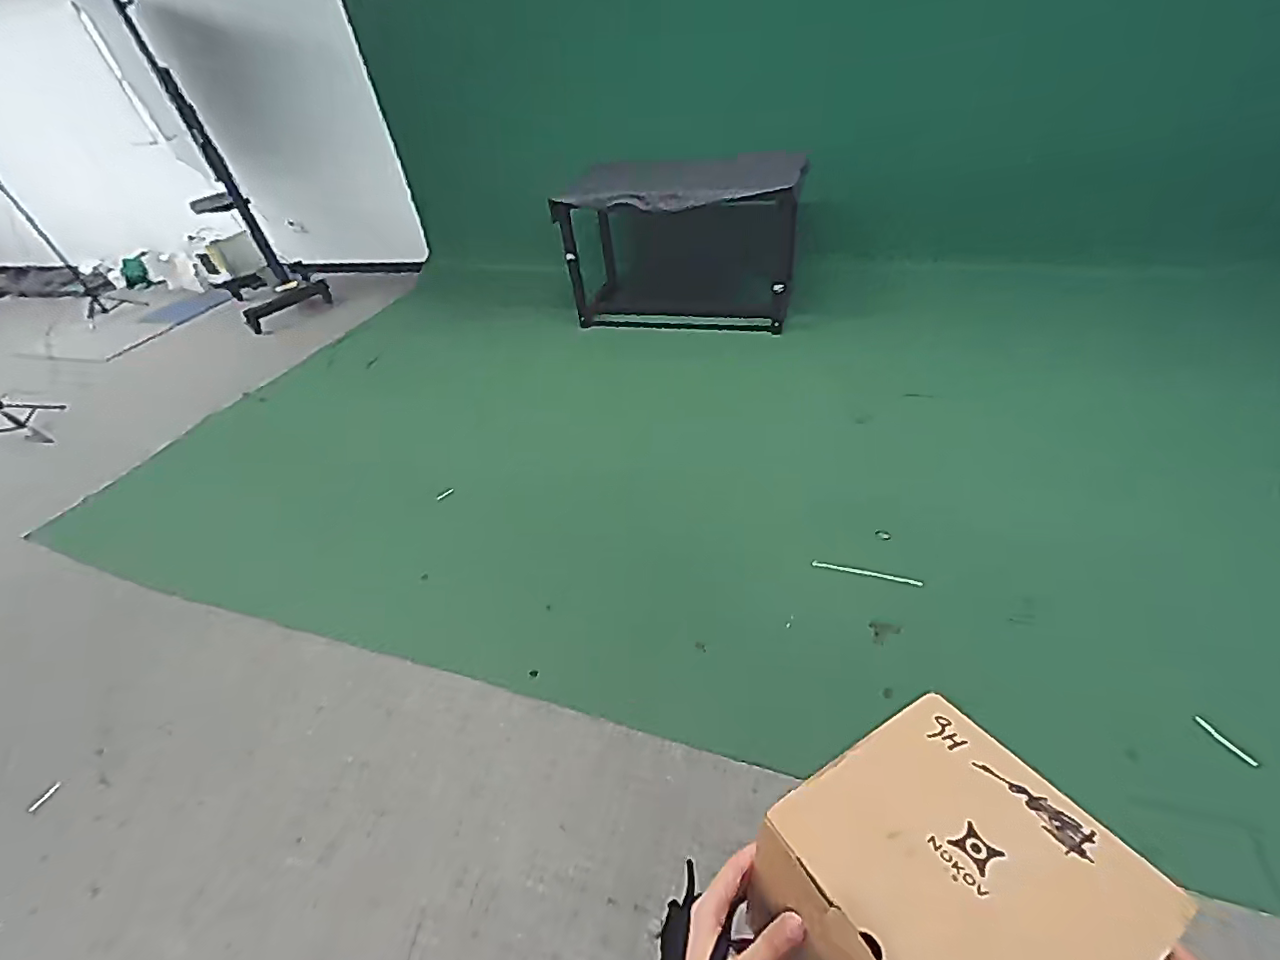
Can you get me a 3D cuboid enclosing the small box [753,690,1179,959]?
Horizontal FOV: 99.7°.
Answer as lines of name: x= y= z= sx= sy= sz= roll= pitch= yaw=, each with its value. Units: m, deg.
small box: x=0.195 y=0.293 z=0.371 sx=0.179 sy=0.176 sz=0.168 roll=-20 pitch=37 yaw=-24
